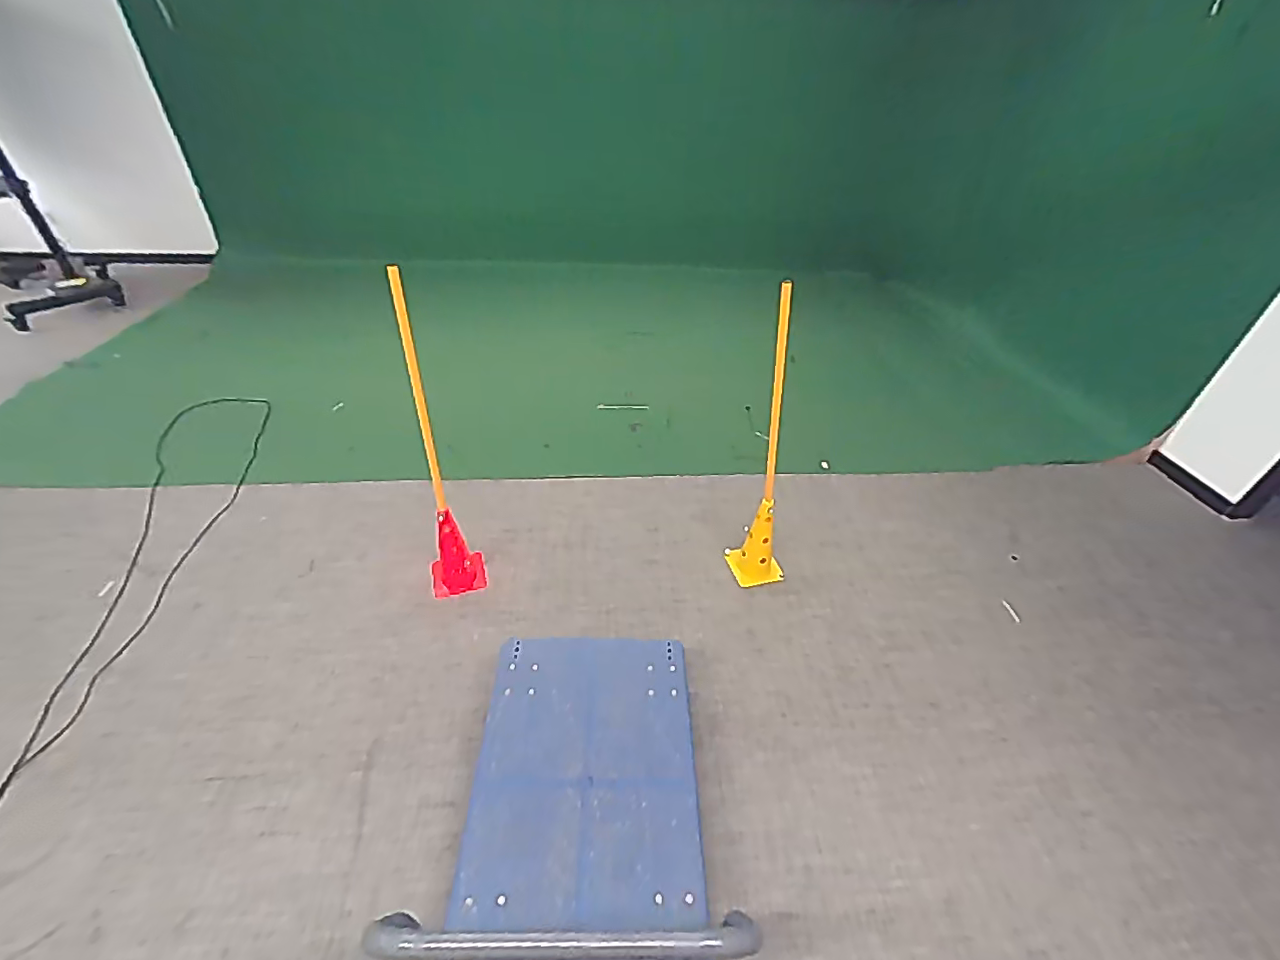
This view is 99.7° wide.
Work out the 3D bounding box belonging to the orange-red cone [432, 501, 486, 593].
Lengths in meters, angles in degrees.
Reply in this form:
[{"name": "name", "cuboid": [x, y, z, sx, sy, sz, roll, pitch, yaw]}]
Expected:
[{"name": "orange-red cone", "cuboid": [-0.709, 0.224, 2.020, 0.199, 0.360, 0.198, -11, 41, -15]}]
